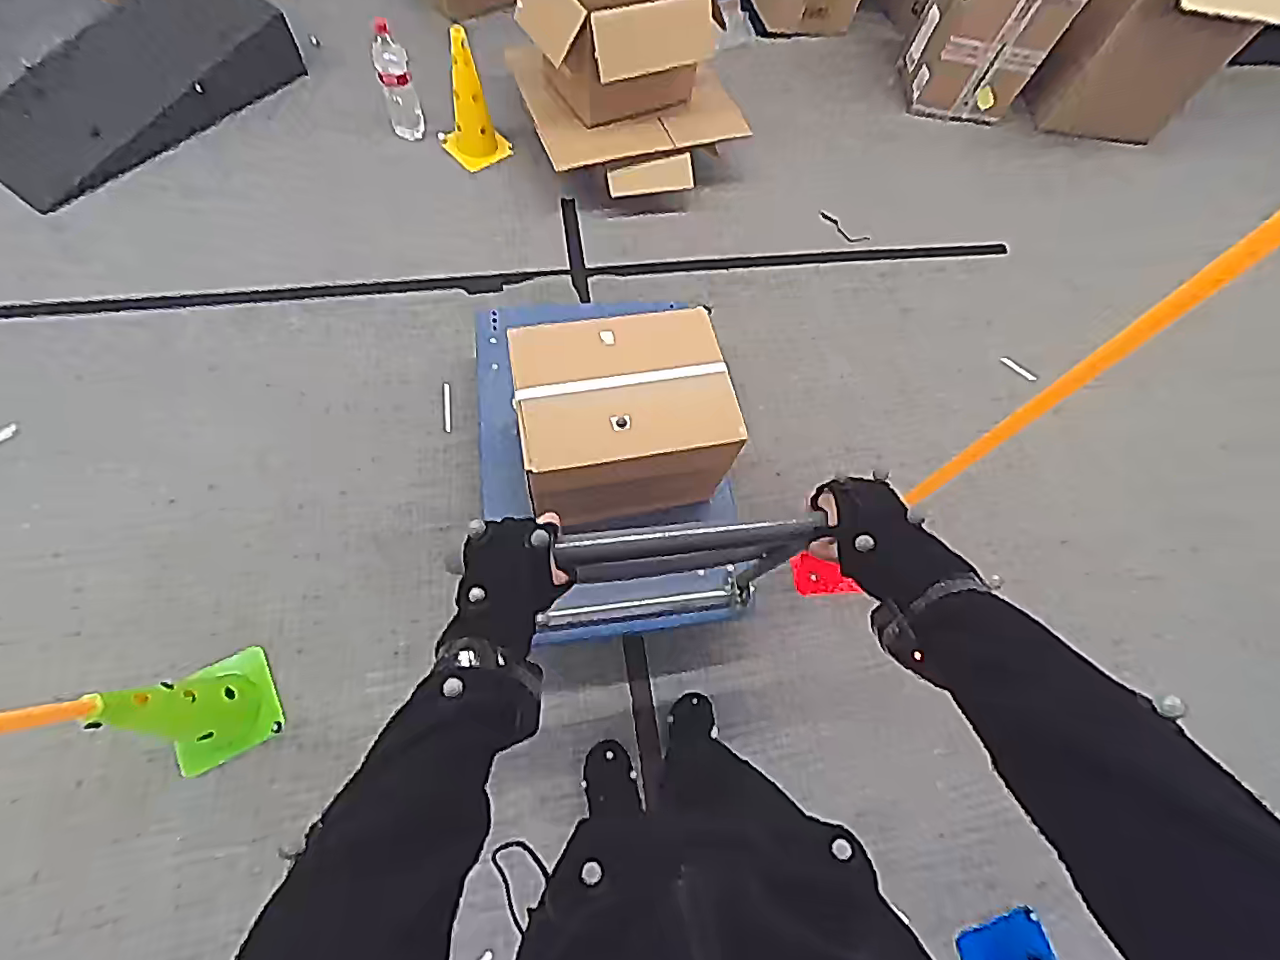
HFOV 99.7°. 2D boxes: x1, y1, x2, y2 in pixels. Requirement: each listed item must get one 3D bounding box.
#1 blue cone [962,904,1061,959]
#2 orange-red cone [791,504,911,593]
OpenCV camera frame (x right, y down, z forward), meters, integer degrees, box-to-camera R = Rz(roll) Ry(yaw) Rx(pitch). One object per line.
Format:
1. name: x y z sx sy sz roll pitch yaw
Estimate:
1. blue cone: 0.795 0.945 0.965 0.193 0.380 0.192 -10 67 -11
2. orange-red cone: 0.521 0.132 1.270 0.199 0.360 0.198 0 67 -8
